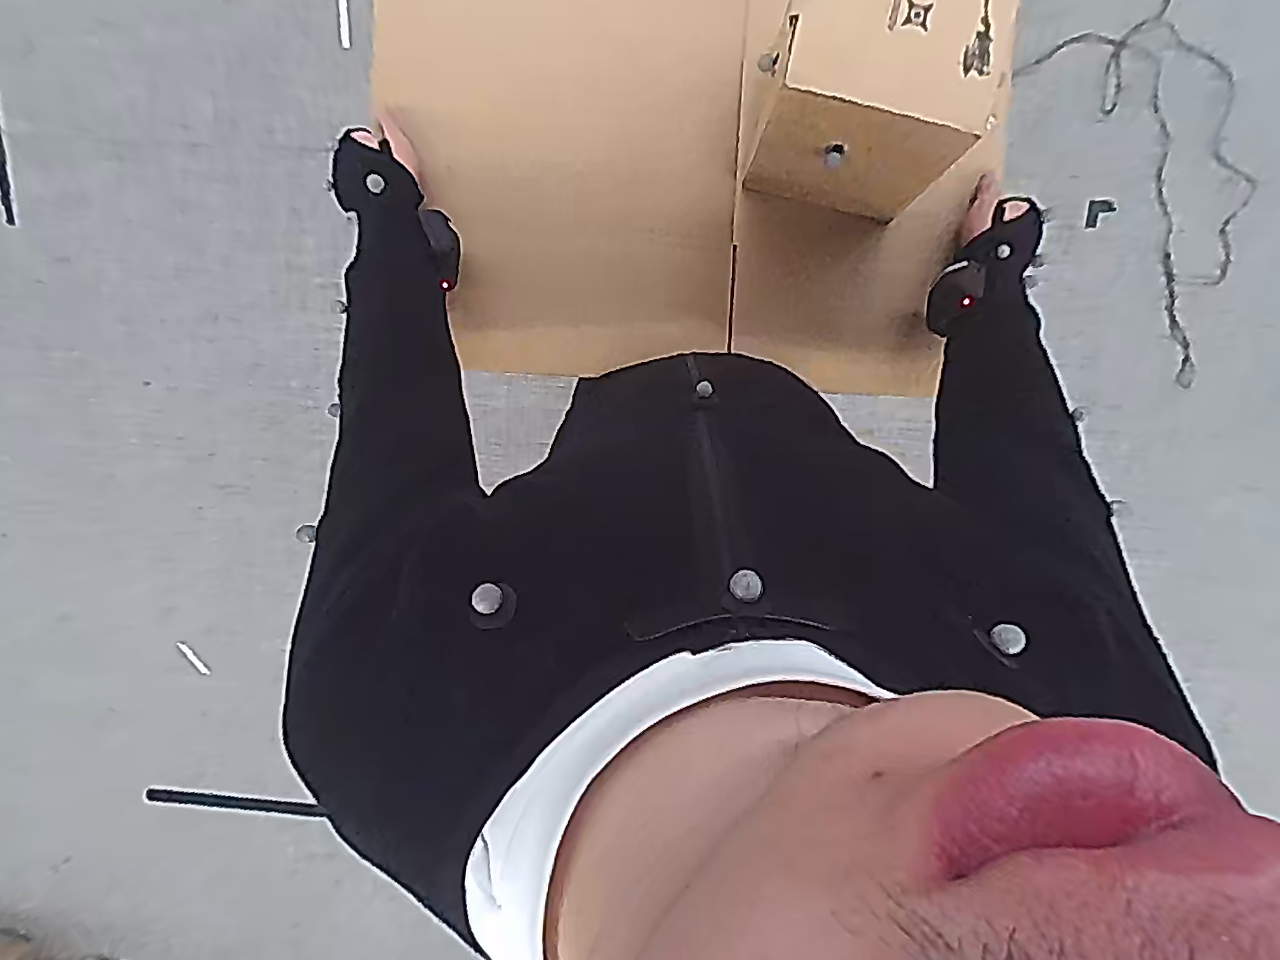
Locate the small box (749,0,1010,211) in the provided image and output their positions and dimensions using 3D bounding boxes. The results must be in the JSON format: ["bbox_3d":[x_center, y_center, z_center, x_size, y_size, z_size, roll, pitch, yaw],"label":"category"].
[{"bbox_3d":[0.217,-0.392,0.529,0.179,0.176,0.168,13,92,0],"label":"small box"}]
